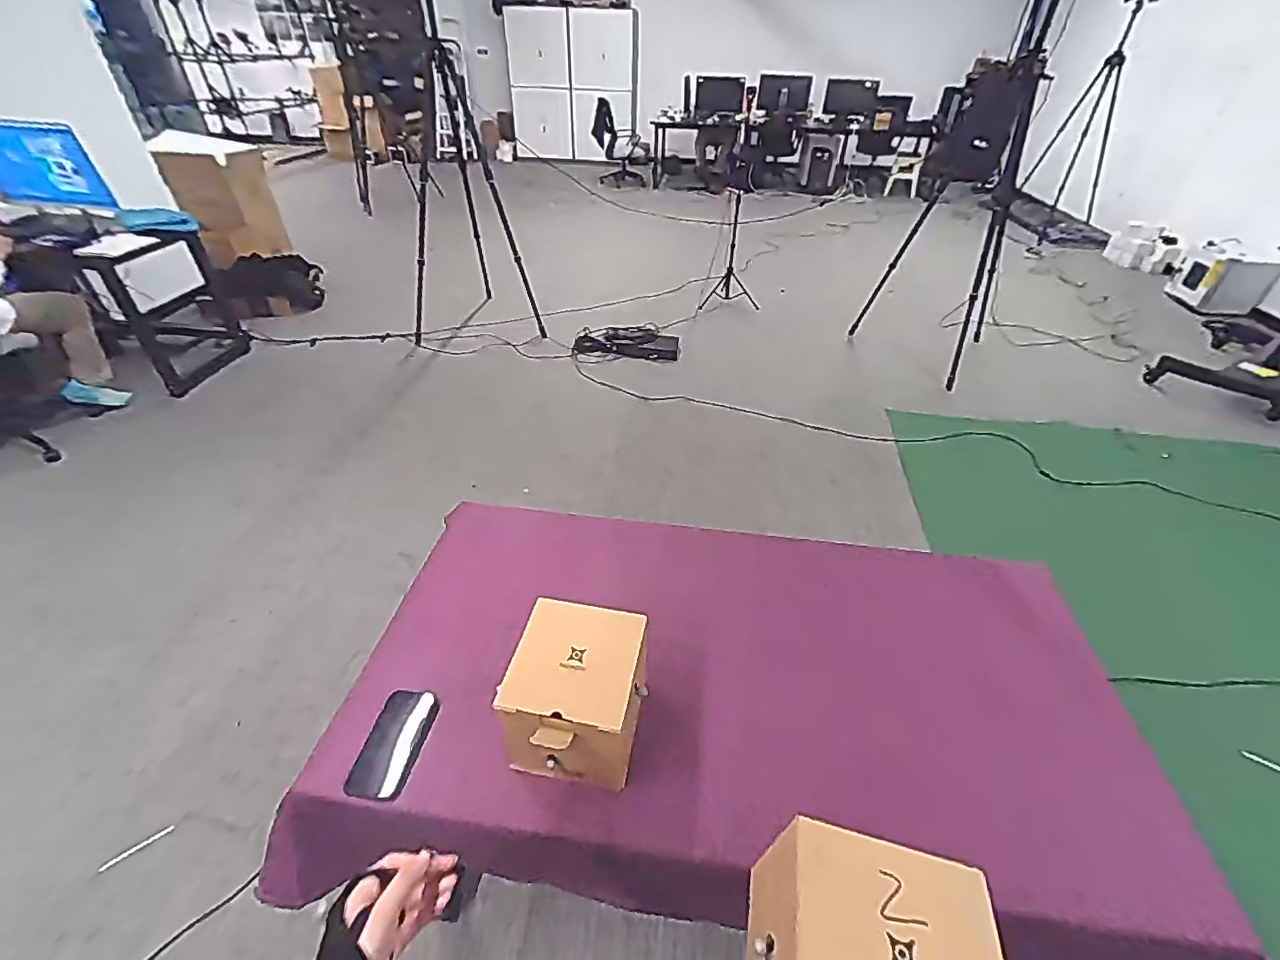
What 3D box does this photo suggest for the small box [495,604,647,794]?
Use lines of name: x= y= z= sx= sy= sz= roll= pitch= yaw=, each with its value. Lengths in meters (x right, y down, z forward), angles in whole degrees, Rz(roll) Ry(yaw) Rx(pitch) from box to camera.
small box: x=-0.090 y=0.311 z=0.775 sx=0.168 sy=0.176 sz=0.179 roll=8 pitch=39 yaw=8
